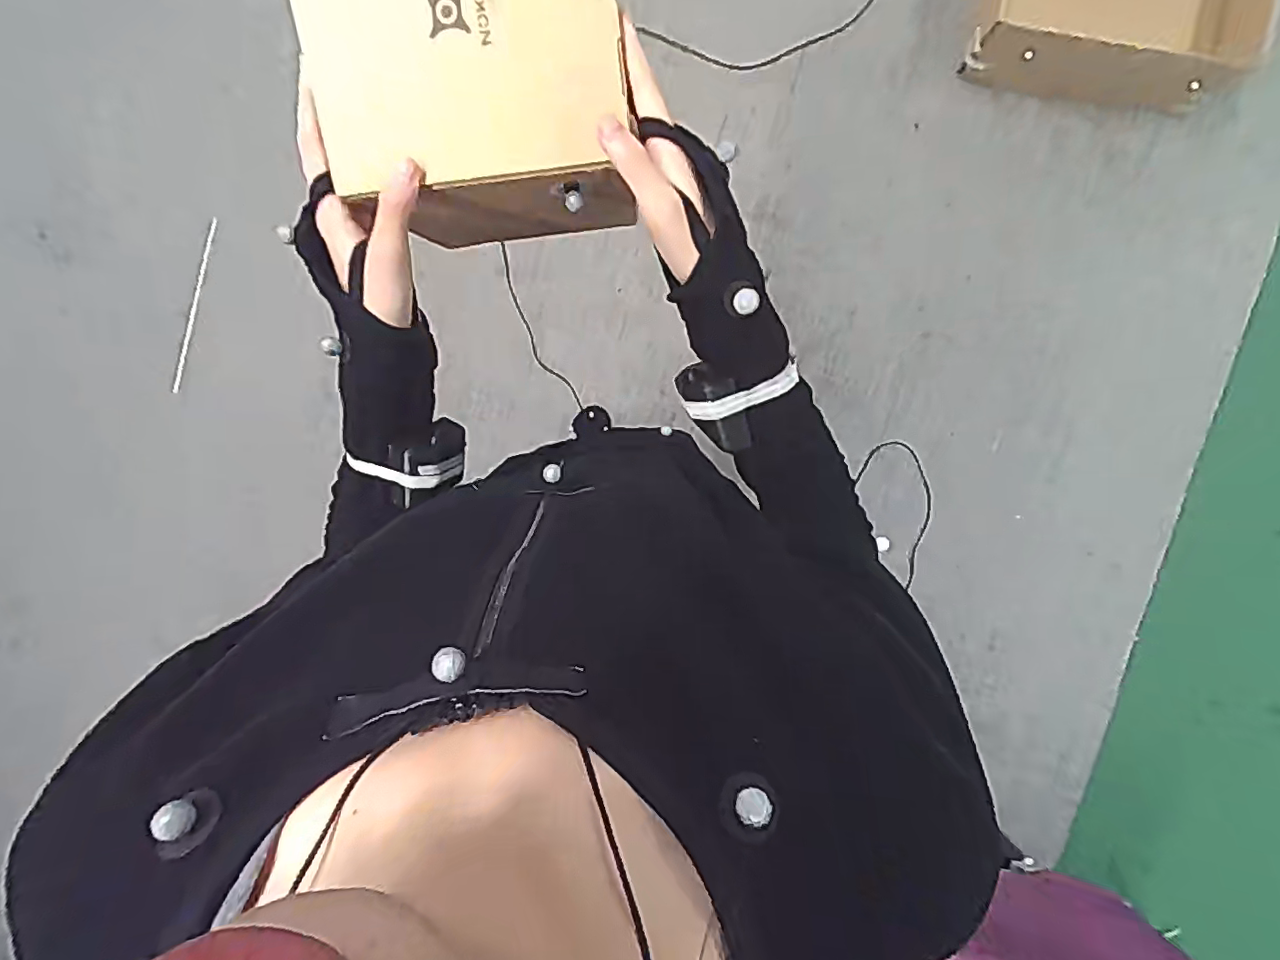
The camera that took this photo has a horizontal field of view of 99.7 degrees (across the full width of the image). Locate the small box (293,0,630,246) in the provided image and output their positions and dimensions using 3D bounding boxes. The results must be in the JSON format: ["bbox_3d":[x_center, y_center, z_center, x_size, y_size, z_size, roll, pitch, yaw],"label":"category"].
[{"bbox_3d":[-0.102,-0.270,0.374,0.179,0.176,0.168,-6,104,1],"label":"small box"}]
